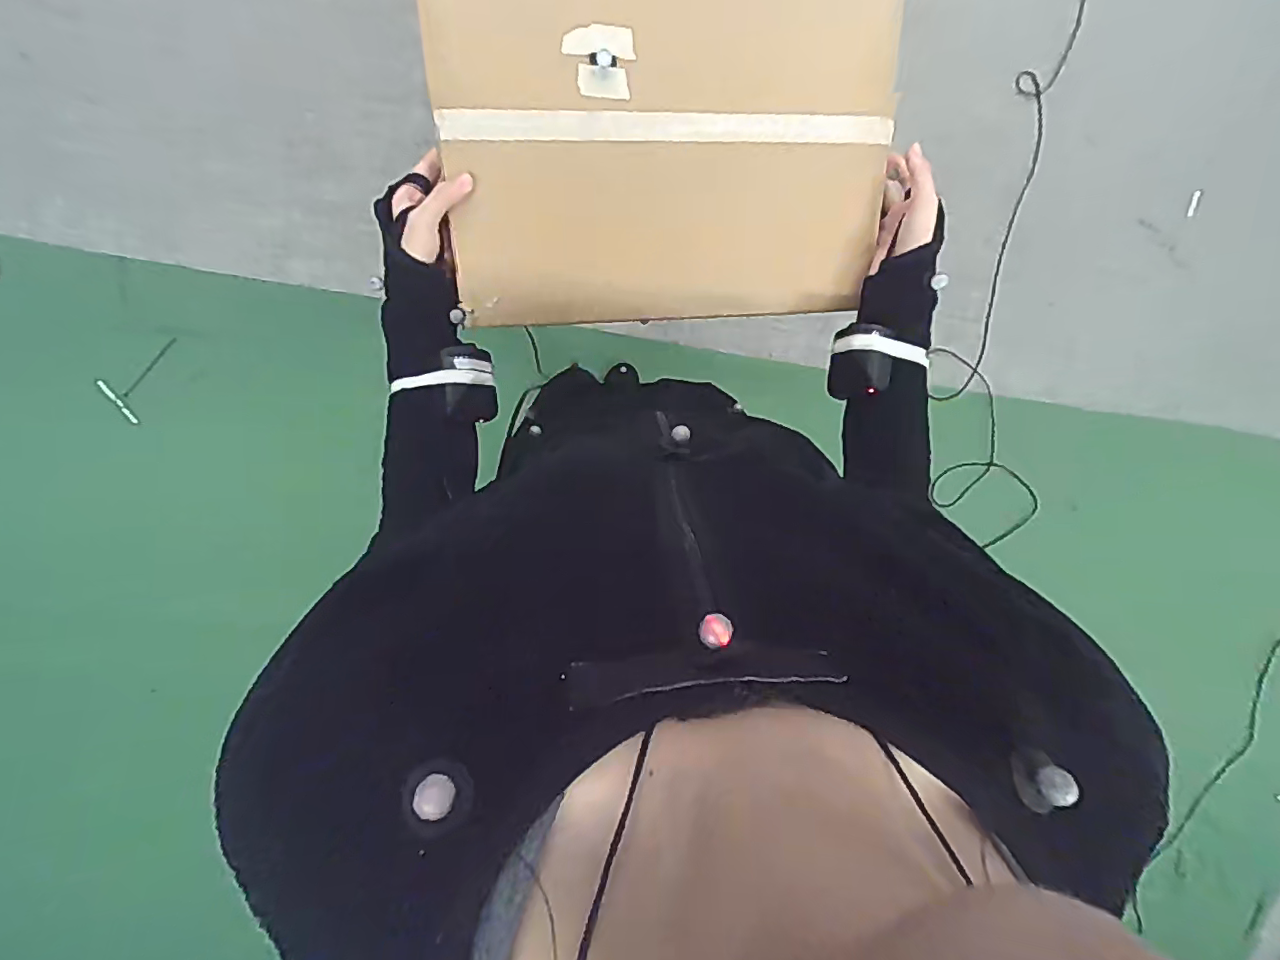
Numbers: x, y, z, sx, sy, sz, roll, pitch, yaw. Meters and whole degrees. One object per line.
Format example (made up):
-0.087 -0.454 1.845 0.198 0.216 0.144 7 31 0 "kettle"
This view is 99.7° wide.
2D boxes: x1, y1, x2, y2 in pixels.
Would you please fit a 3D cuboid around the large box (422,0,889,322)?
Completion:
0.001 -0.365 0.619 0.408 0.320 0.320 -6 112 -10 "large box"
